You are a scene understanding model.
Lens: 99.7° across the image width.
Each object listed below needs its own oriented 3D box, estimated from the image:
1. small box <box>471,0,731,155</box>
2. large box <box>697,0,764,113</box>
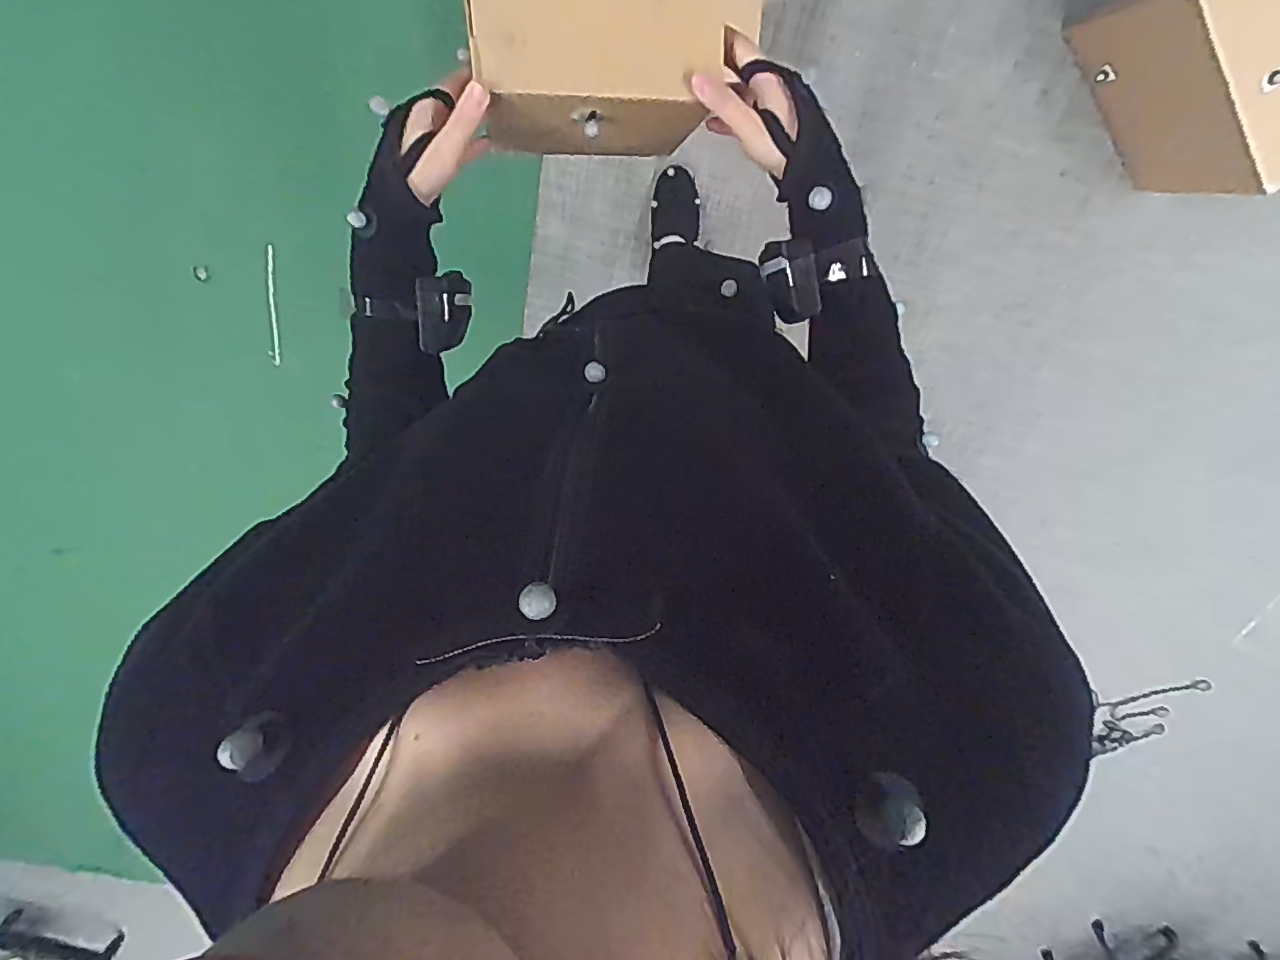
[{"bbox_3d":[-0.037,-0.369,0.424,0.179,0.176,0.168,-4,109,-10],"label":"small box"},{"bbox_3d":[0.010,-0.865,0.990,0.408,0.320,0.320,1,118,3],"label":"large box"}]
